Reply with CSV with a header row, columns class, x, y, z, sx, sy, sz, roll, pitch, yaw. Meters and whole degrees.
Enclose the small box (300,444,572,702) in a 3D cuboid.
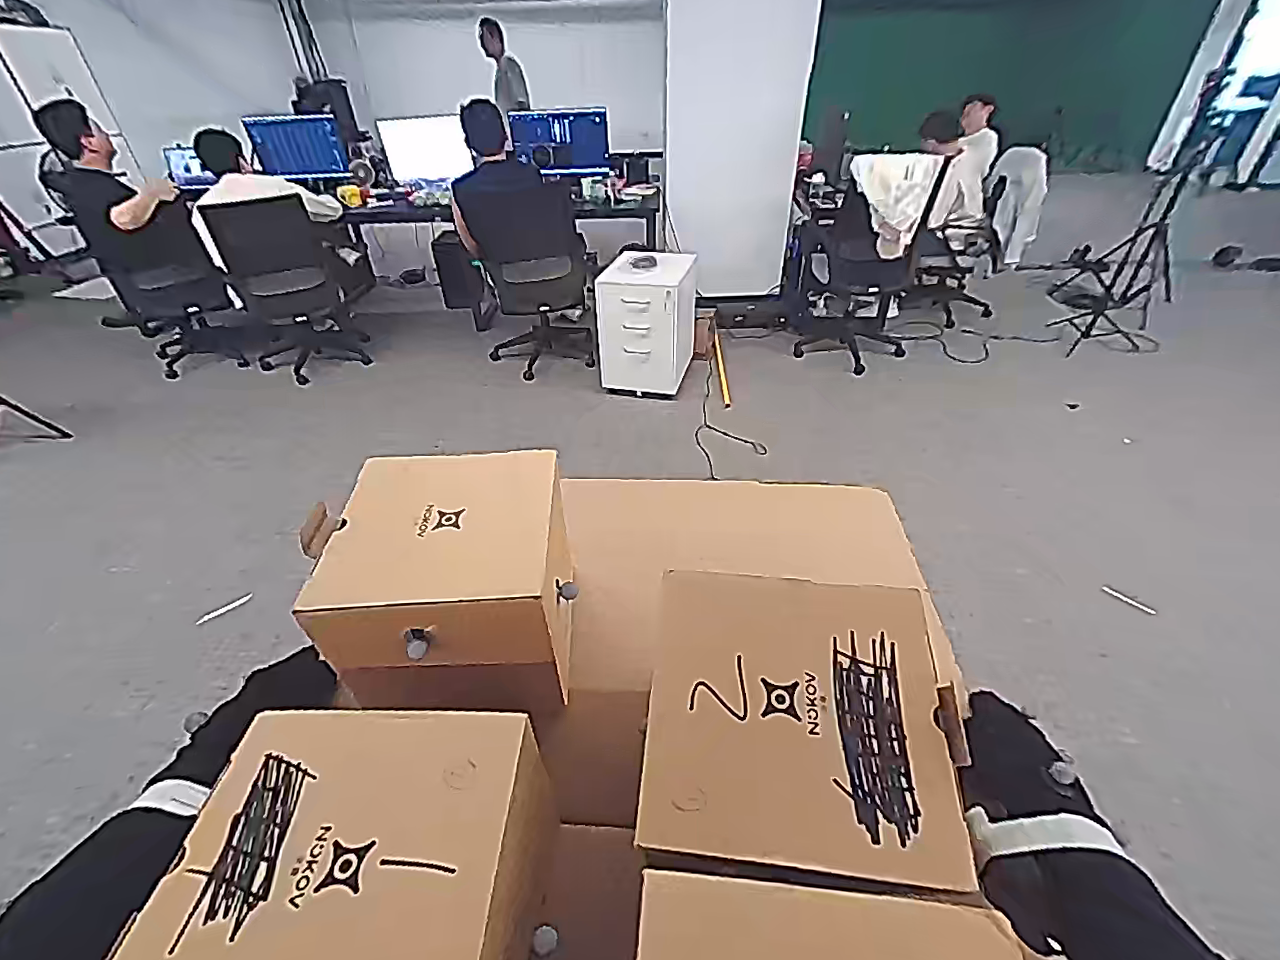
class,x,y,z,sx,sy,sz,roll,pitch,yaw
small box,-0.159,0.086,0.499,0.179,0.176,0.168,-4,41,-1
